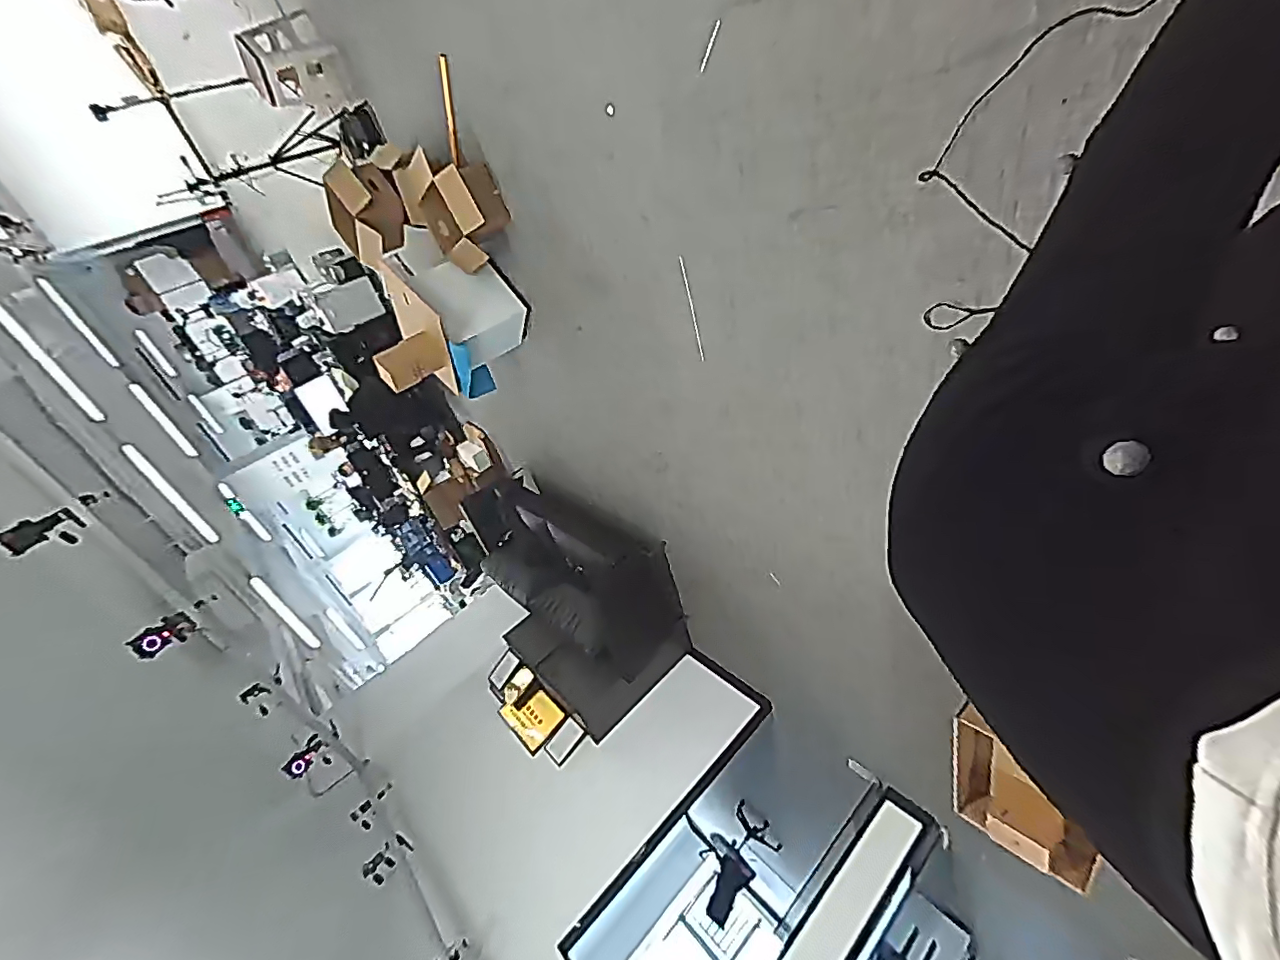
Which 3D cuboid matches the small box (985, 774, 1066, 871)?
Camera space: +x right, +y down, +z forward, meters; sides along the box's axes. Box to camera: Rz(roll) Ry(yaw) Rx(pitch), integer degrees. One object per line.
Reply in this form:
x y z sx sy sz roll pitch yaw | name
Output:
1.267 1.117 1.774 0.179 0.176 0.168 17 138 50 | small box
